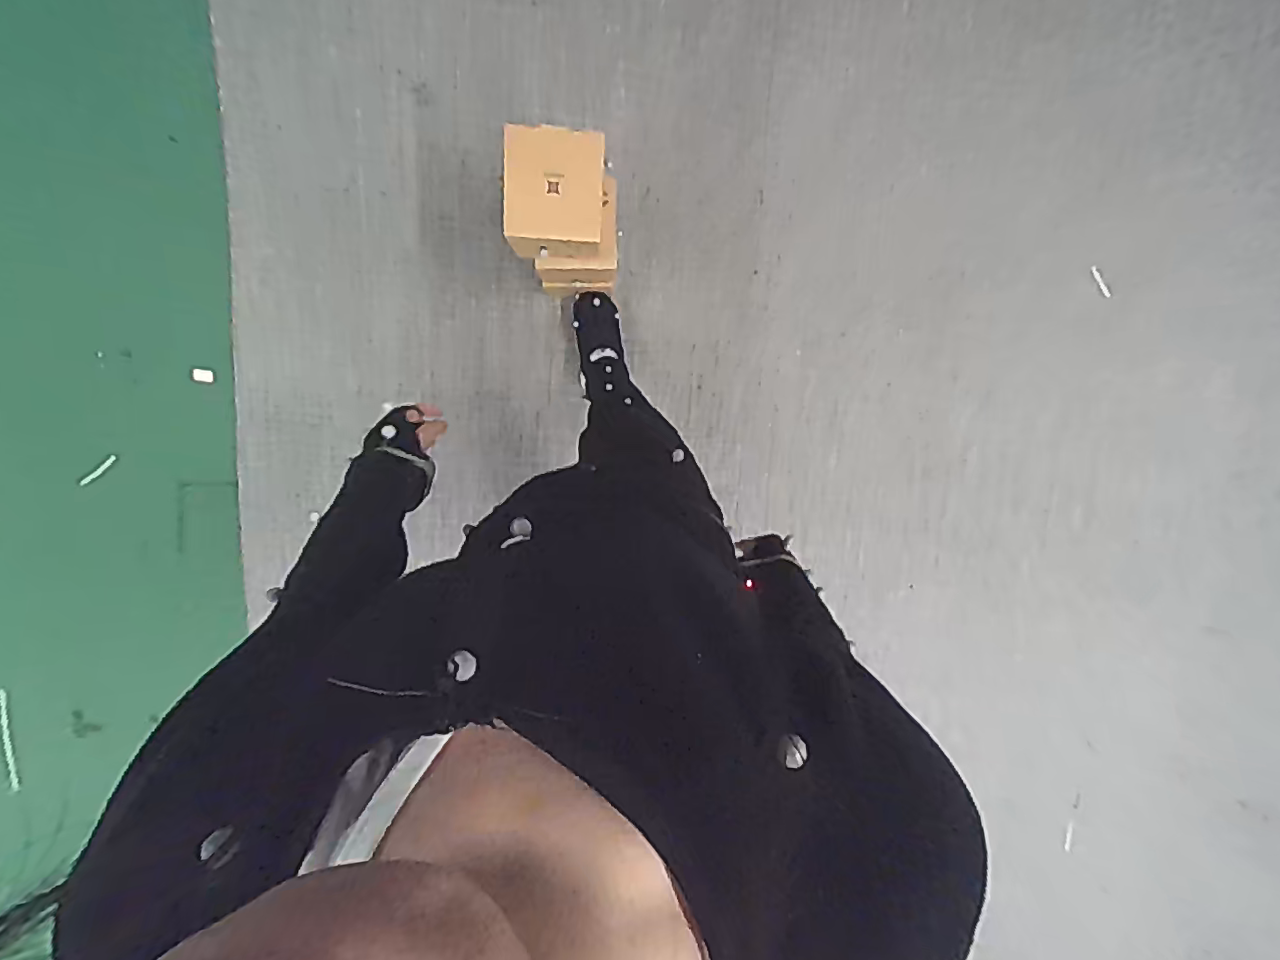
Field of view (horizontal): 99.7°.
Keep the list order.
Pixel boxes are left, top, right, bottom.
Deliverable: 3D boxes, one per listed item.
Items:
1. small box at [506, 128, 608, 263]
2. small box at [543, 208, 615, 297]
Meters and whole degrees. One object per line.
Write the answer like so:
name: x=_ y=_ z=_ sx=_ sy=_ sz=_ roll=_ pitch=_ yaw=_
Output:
small box: x=-0.145 y=-0.503 z=0.982 sx=0.168 sy=0.176 sz=0.179 roll=2 pitch=100 yaw=-4
small box: x=-0.145 y=-0.542 z=1.307 sx=0.168 sy=0.176 sz=0.179 roll=-2 pitch=100 yaw=-4
